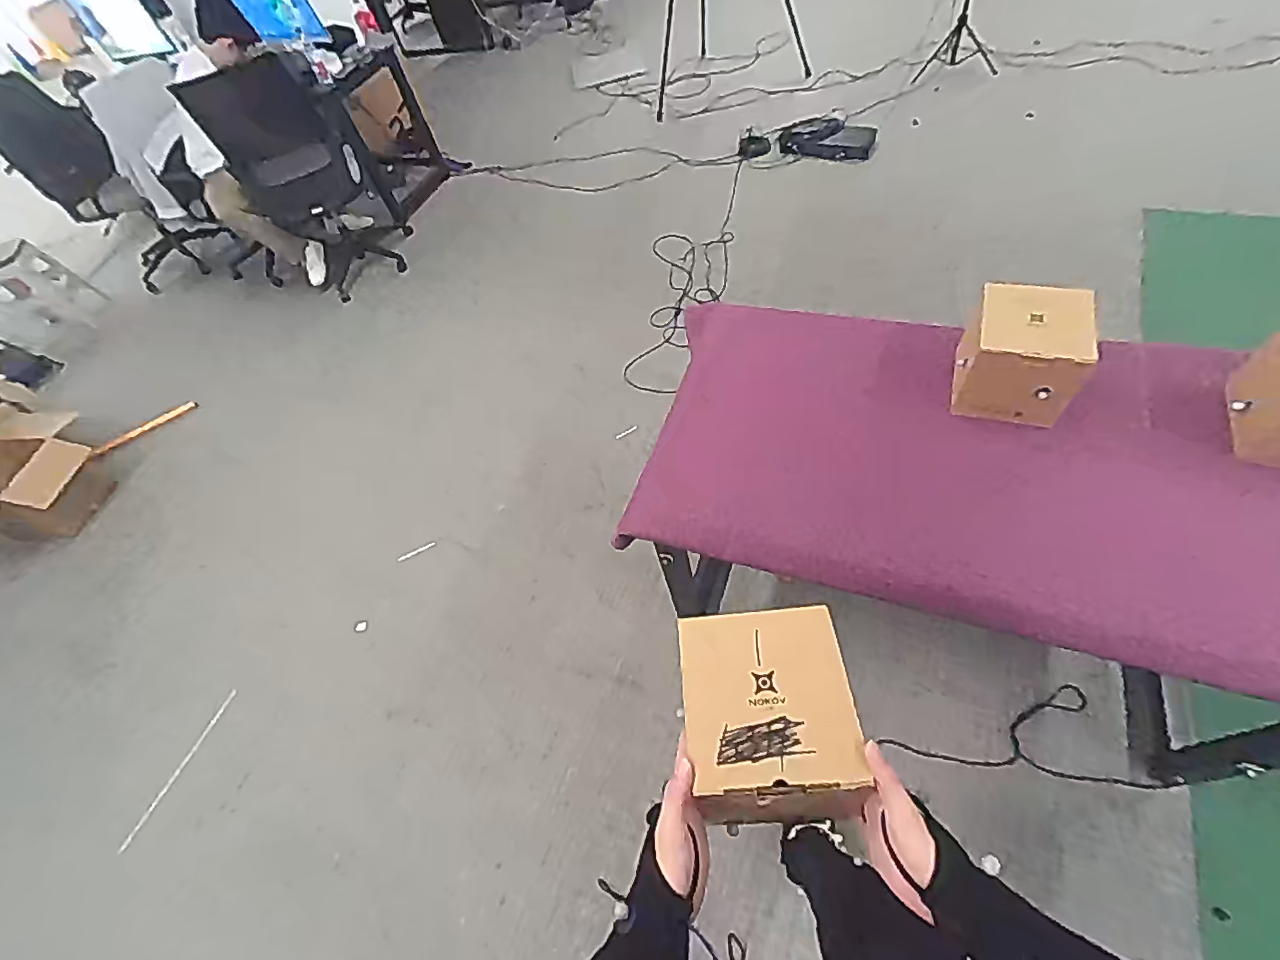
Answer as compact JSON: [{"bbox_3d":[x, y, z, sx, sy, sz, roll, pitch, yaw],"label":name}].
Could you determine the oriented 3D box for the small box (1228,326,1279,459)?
[{"bbox_3d":[1.049,-0.131,0.810,0.168,0.176,0.179,13,61,21],"label":"small box"}]

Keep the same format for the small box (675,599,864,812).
[{"bbox_3d":[0.134,0.256,0.600,0.168,0.176,0.179,-8,48,7],"label":"small box"}]

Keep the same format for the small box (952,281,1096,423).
[{"bbox_3d":[0.673,-0.225,0.963,0.168,0.176,0.179,12,60,20],"label":"small box"}]
